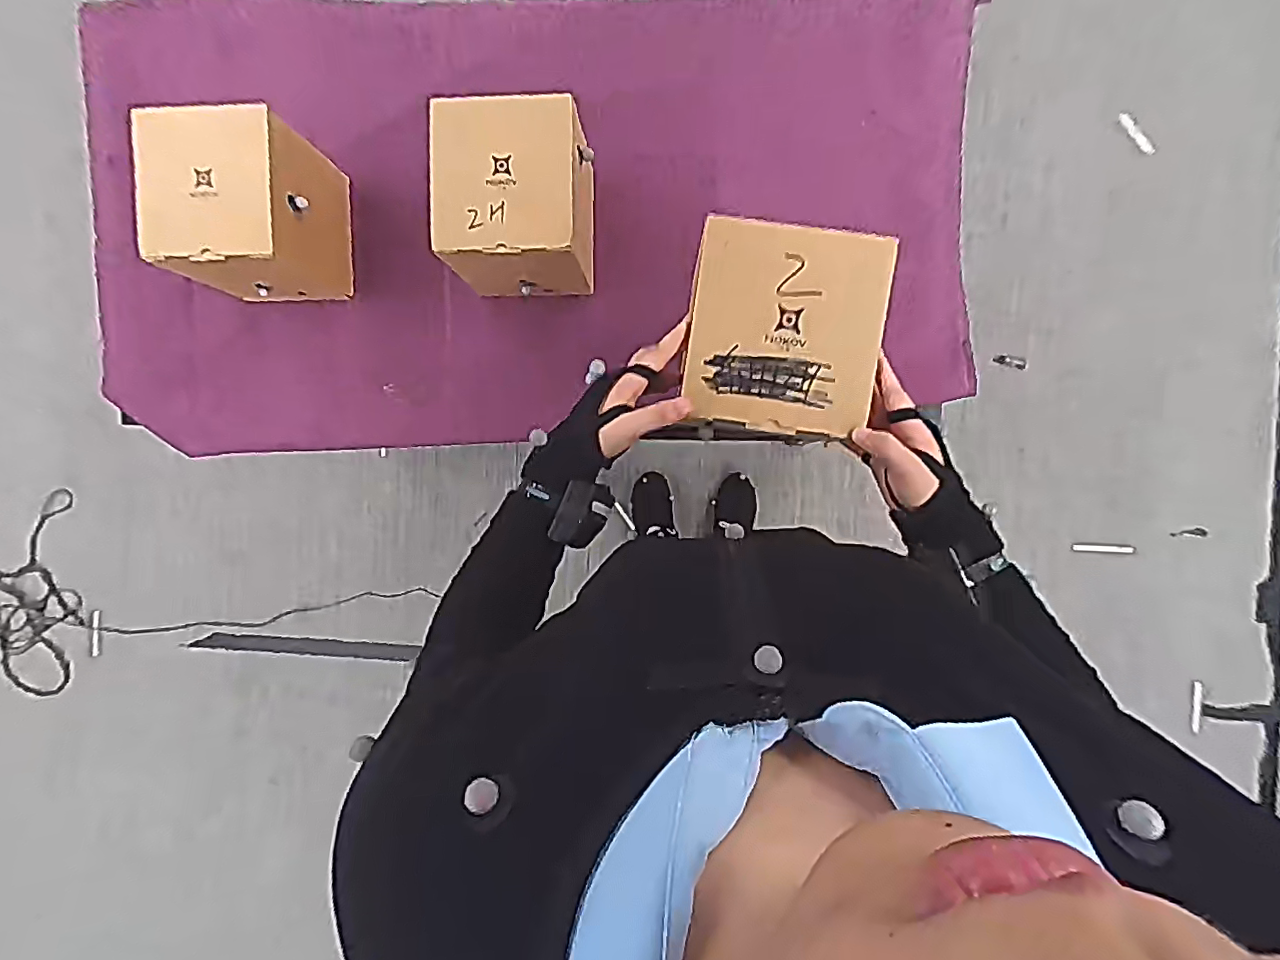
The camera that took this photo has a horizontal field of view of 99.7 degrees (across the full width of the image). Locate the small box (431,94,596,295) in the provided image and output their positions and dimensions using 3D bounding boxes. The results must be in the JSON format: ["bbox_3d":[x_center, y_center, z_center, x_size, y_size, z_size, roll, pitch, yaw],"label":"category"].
[{"bbox_3d":[-0.151,-0.350,0.691,0.168,0.176,0.179,0,93,4],"label":"small box"}]

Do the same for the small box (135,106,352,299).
[{"bbox_3d":[-0.504,-0.350,0.711,0.168,0.176,0.179,-1,93,2],"label":"small box"}]
